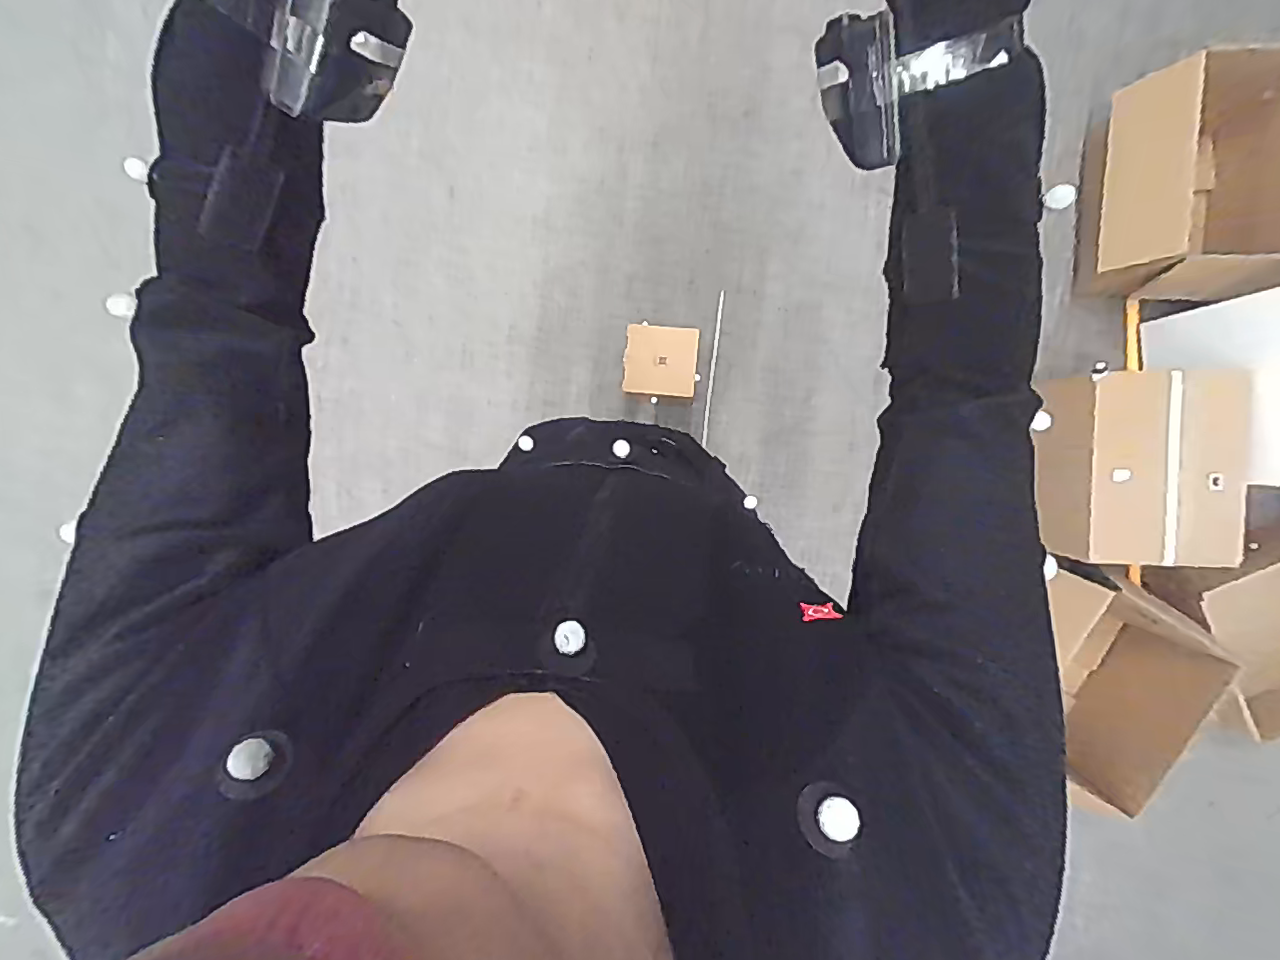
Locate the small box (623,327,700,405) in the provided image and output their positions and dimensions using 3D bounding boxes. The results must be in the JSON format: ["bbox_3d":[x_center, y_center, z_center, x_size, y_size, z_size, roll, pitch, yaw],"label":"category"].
[{"bbox_3d":[0.055,-0.284,1.377,0.179,0.176,0.168,5,93,3],"label":"small box"}]
